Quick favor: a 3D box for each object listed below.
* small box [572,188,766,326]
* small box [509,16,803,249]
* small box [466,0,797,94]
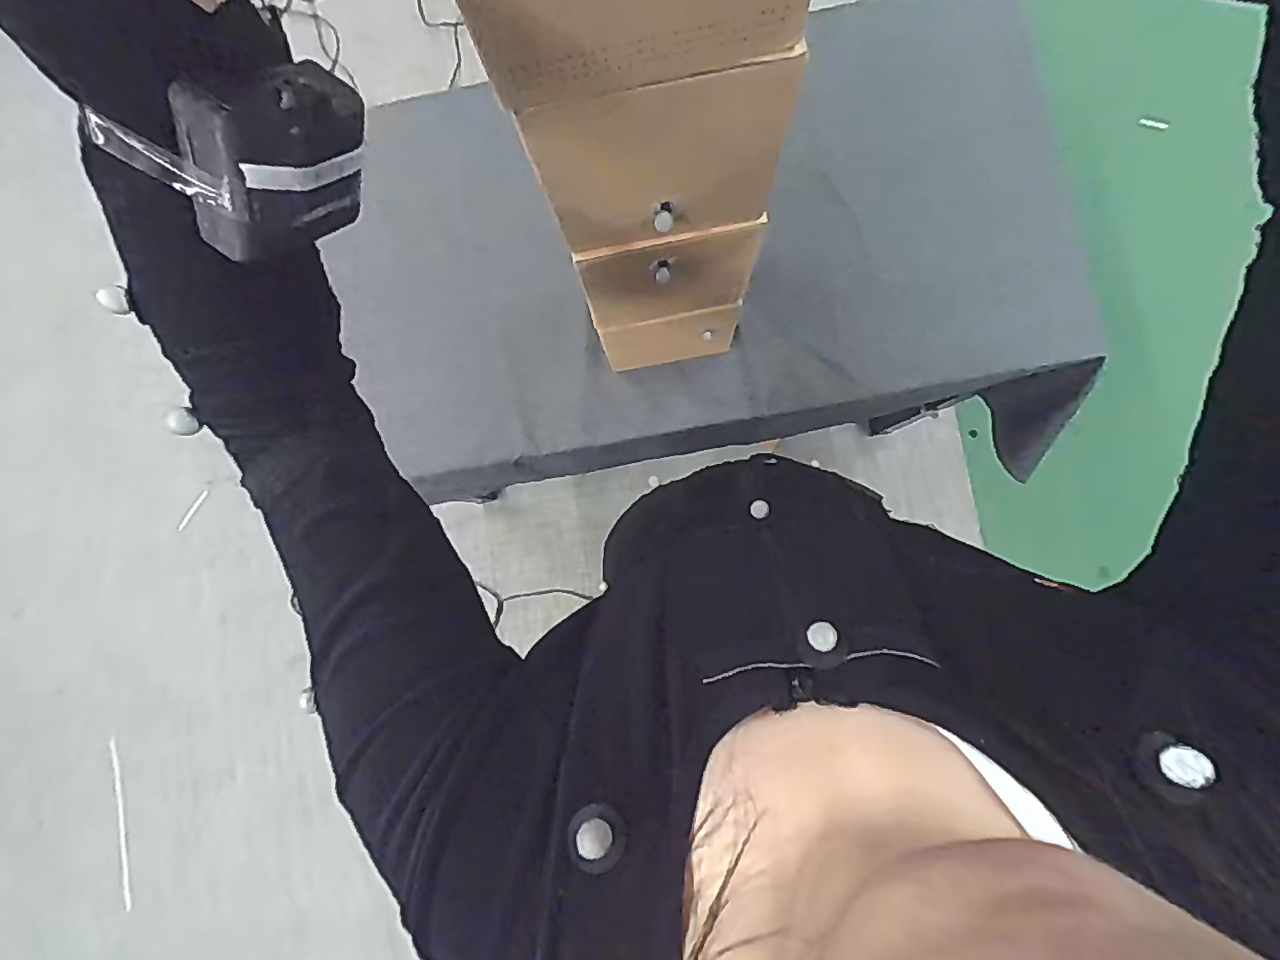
[{"bbox_3d":[0.017,-0.280,0.566,0.179,0.176,0.168,-11,84,3],"label":"small box"},{"bbox_3d":[0.003,-0.300,0.403,0.179,0.176,0.168,-9,83,2],"label":"small box"},{"bbox_3d":[-0.014,-0.318,0.241,0.179,0.176,0.168,-10,85,3],"label":"small box"}]
